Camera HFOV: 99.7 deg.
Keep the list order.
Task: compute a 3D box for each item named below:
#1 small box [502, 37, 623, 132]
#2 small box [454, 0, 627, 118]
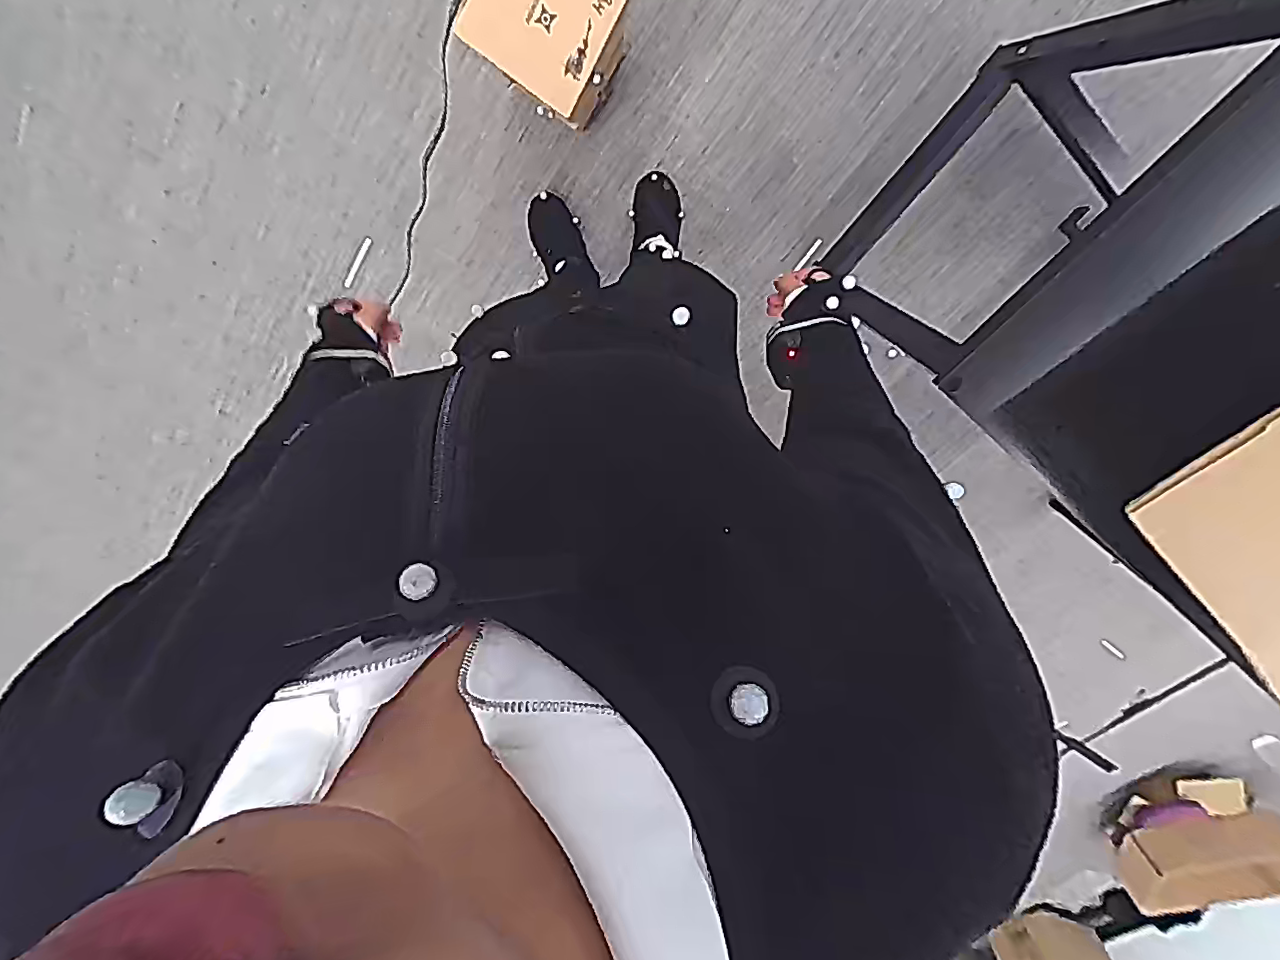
[{"bbox_3d":[-0.149,-0.817,1.056,0.168,0.176,0.179,29,116,-18],"label":"small box"},{"bbox_3d":[-0.134,-0.652,0.776,0.179,0.176,0.168,29,116,-18],"label":"small box"}]
